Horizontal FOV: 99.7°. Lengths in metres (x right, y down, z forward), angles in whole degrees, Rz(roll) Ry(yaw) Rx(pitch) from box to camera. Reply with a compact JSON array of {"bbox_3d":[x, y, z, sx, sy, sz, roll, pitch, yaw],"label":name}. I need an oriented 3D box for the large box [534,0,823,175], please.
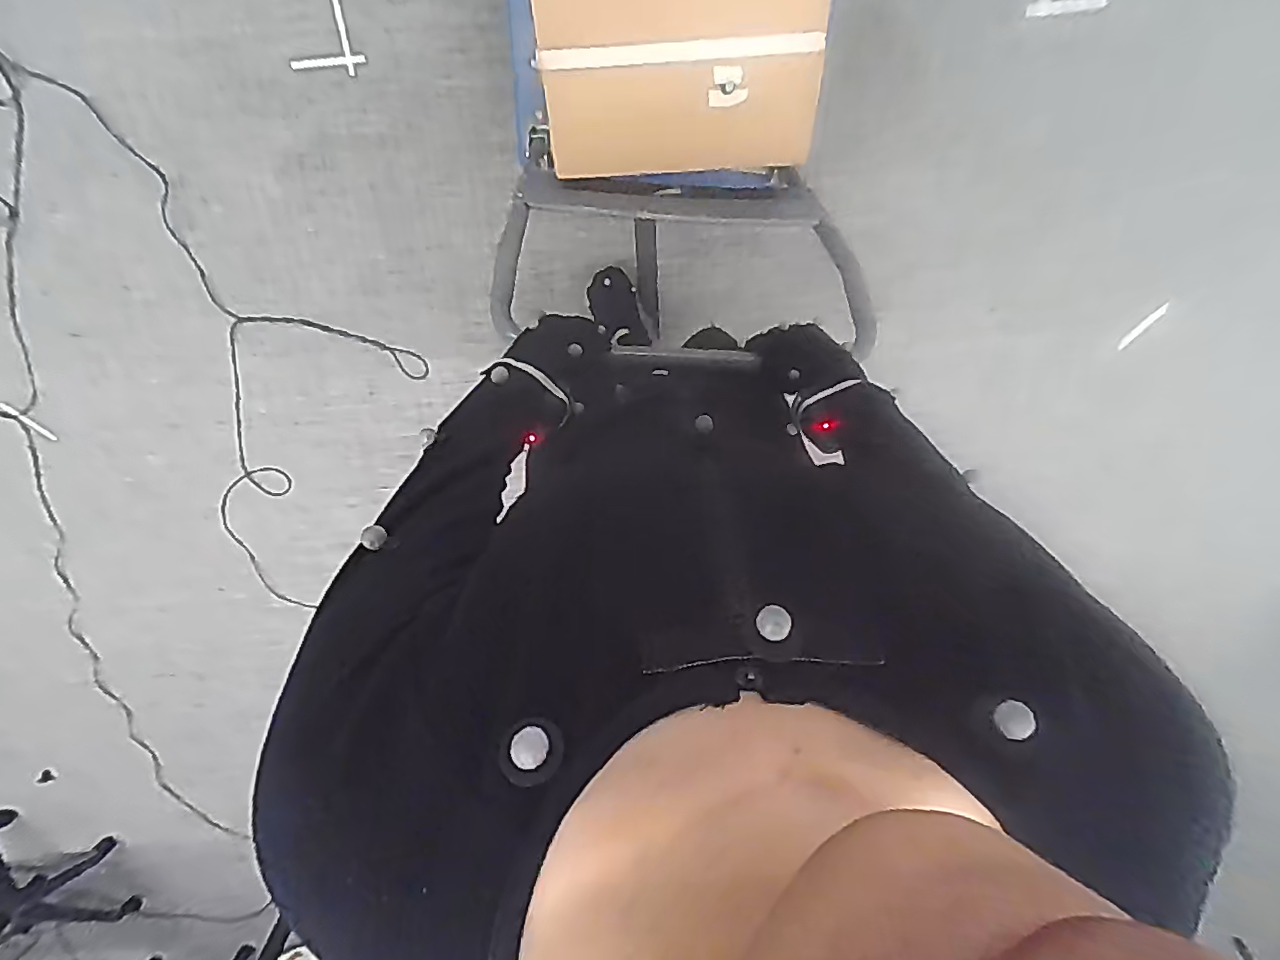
[{"bbox_3d":[0.049,-0.724,0.878,0.408,0.320,0.320,-5,135,0],"label":"large box"}]
